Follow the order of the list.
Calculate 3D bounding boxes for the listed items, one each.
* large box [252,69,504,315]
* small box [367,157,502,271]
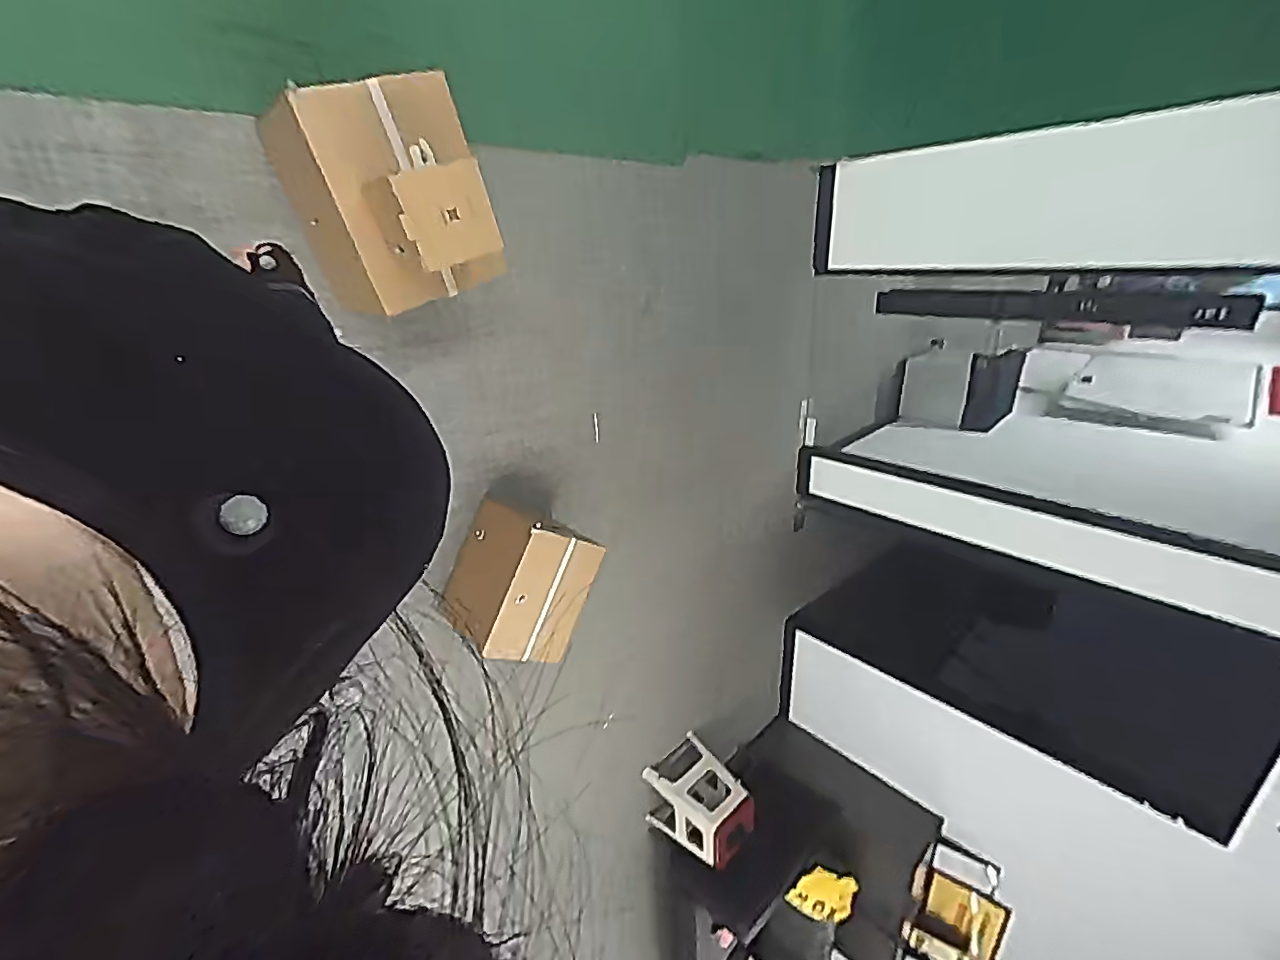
[{"bbox_3d":[-0.573,-0.619,1.210,0.320,0.320,0.408,-36,126,-31],"label":"large box"},{"bbox_3d":[-0.407,-0.514,1.057,0.179,0.176,0.168,-34,127,-30],"label":"small box"}]
